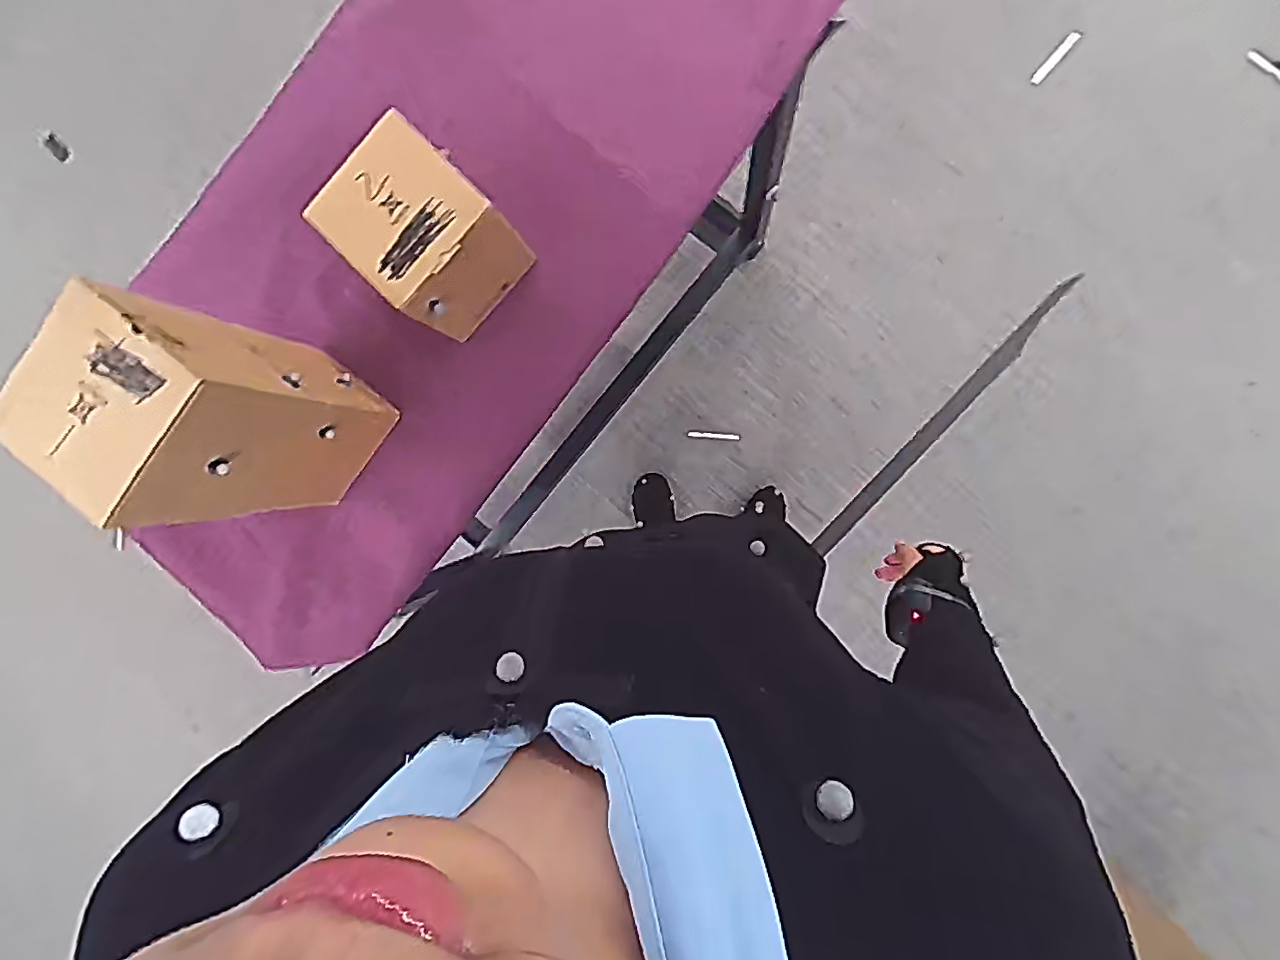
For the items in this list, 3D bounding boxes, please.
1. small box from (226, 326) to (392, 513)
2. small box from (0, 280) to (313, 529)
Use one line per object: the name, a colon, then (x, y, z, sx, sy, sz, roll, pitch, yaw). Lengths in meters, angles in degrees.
small box: (-0.484, -0.075, 0.743, 0.168, 0.176, 0.179, 38, 94, 4)
small box: (-0.497, -0.071, 0.579, 0.168, 0.176, 0.179, 38, 95, 5)
